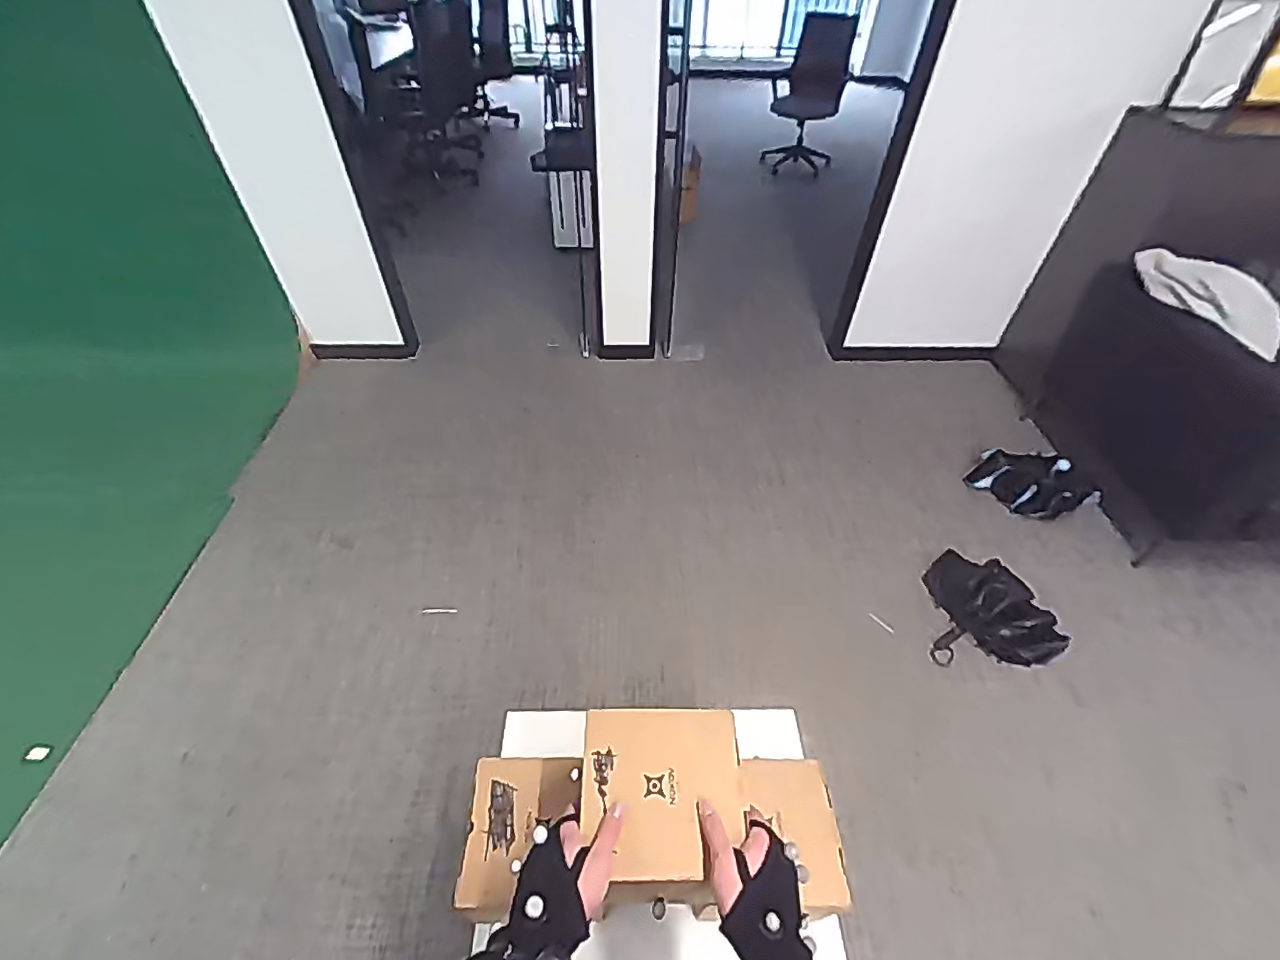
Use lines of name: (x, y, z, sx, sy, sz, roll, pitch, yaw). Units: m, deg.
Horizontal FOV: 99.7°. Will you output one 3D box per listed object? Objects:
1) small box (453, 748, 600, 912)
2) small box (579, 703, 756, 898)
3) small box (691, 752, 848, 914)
small box: (-0.138, 0.483, 0.743, 0.179, 0.176, 0.168, 3, 47, -4)
small box: (0.023, 0.377, 0.634, 0.179, 0.176, 0.168, 3, 47, -3)
small box: (0.162, 0.494, 0.756, 0.179, 0.176, 0.168, 1, 47, -1)
